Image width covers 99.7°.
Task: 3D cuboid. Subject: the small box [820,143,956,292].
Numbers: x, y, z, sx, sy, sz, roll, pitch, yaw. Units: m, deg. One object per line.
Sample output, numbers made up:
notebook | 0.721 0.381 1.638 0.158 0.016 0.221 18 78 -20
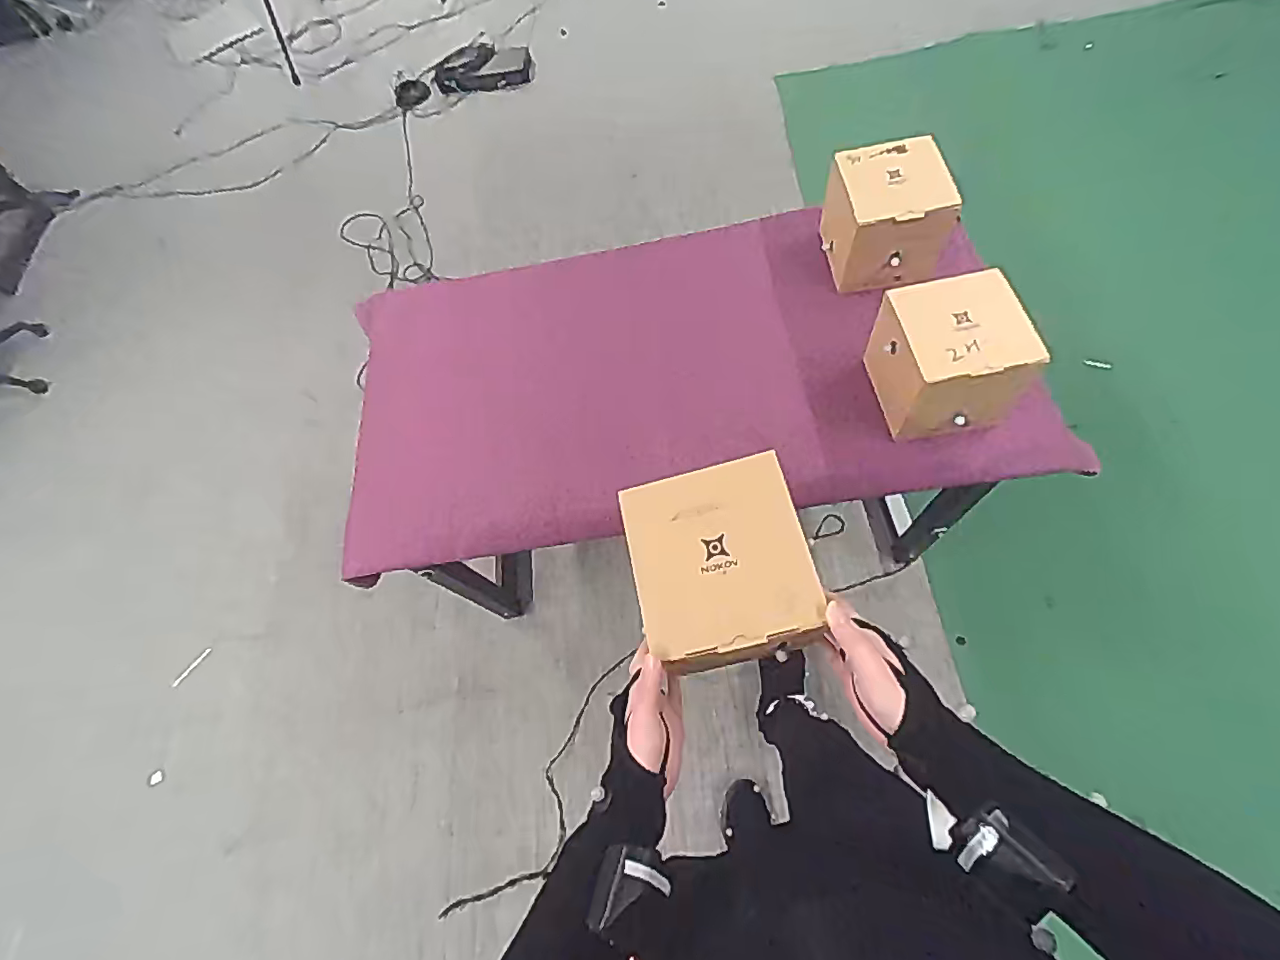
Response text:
small box | 0.437 -0.463 0.982 0.168 0.176 0.179 -7 67 6

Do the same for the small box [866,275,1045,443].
small box | 0.469 -0.182 0.842 0.168 0.176 0.179 -10 62 6

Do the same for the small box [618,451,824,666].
small box | 0.086 0.097 0.587 0.168 0.176 0.179 -15 64 5
